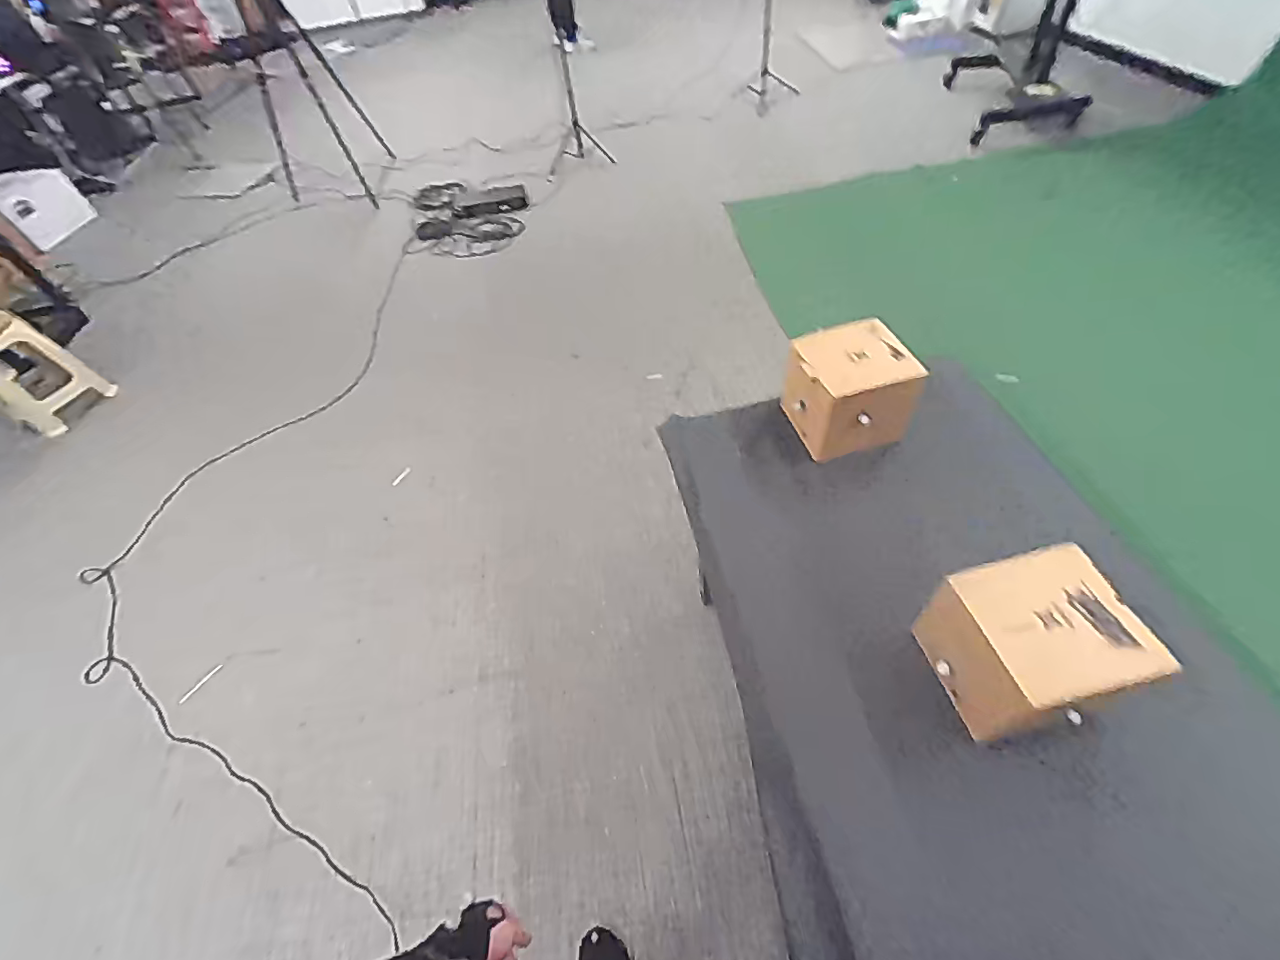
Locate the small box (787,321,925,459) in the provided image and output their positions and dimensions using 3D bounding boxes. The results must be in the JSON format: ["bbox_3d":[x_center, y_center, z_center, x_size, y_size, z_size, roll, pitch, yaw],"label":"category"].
[{"bbox_3d":[0.384,-0.162,1.003,0.179,0.176,0.168,-15,52,-3],"label":"small box"}]

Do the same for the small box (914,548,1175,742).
[{"bbox_3d":[0.489,0.214,0.690,0.179,0.176,0.168,-14,51,-2],"label":"small box"}]
